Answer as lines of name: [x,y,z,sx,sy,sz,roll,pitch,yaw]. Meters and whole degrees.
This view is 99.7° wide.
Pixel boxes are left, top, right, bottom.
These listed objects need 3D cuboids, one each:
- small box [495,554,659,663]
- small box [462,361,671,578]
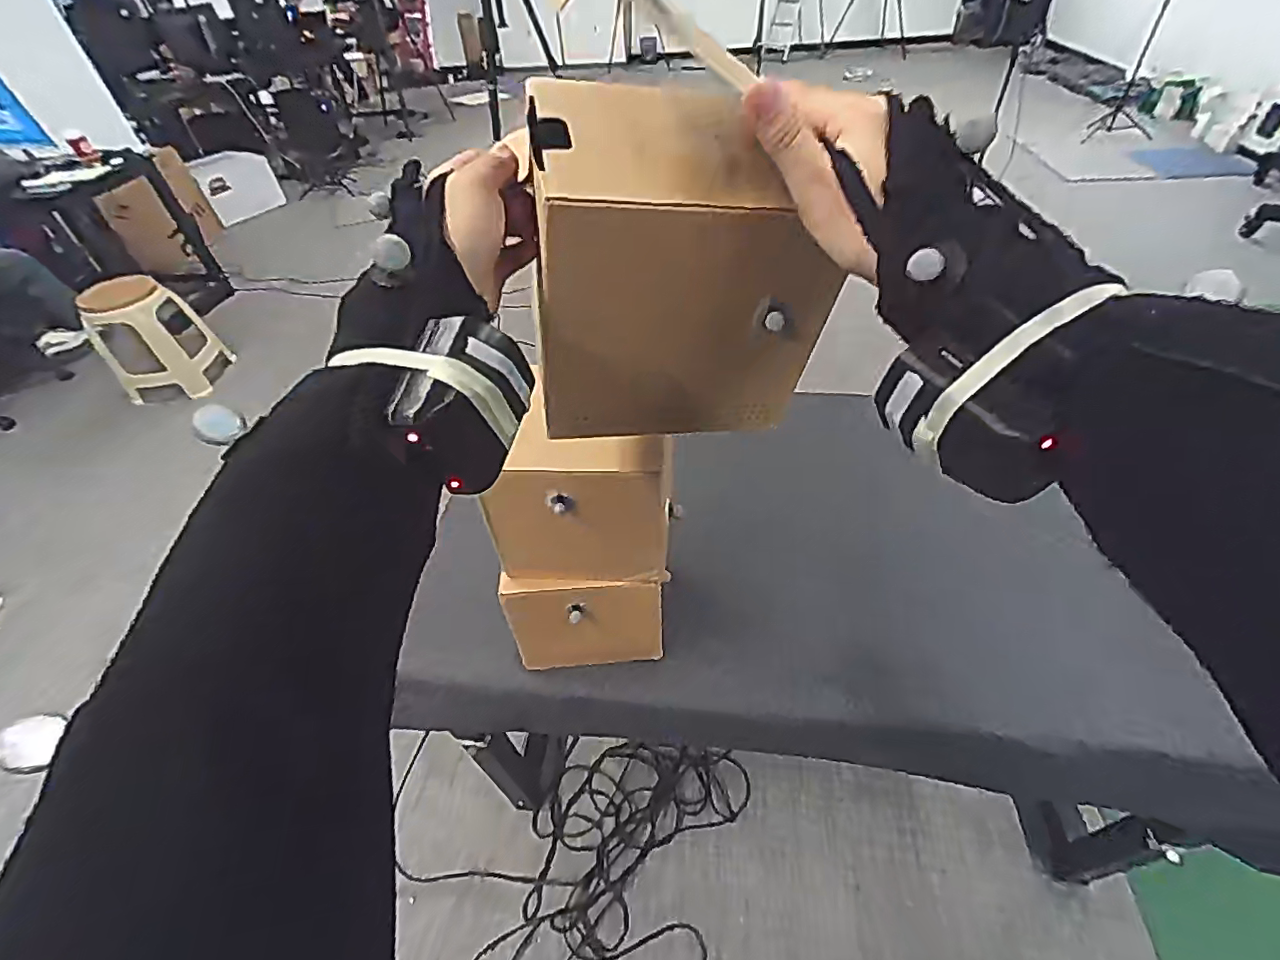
small box: [-0.067,0.114,0.683,0.179,0.176,0.168,-4,44,0]
small box: [-0.060,-0.010,0.577,0.179,0.176,0.168,2,46,5]
